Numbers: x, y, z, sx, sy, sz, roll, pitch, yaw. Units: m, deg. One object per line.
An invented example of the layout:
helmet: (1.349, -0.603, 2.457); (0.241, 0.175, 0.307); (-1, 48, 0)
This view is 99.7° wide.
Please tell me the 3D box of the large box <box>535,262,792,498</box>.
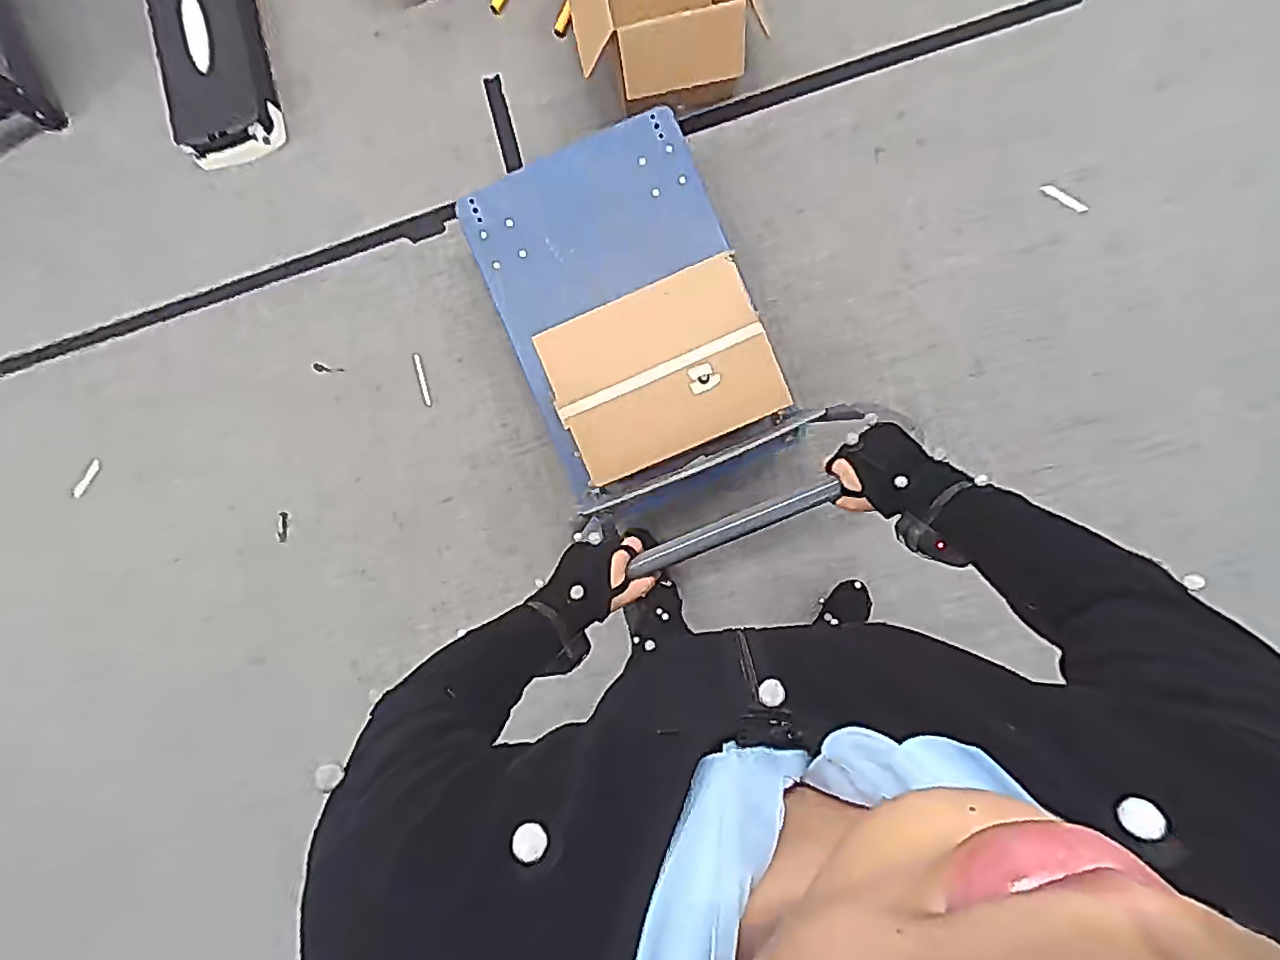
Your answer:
large box: (0.045, -0.185, 1.149); (0.408, 0.320, 0.320); (-23, 92, 2)
